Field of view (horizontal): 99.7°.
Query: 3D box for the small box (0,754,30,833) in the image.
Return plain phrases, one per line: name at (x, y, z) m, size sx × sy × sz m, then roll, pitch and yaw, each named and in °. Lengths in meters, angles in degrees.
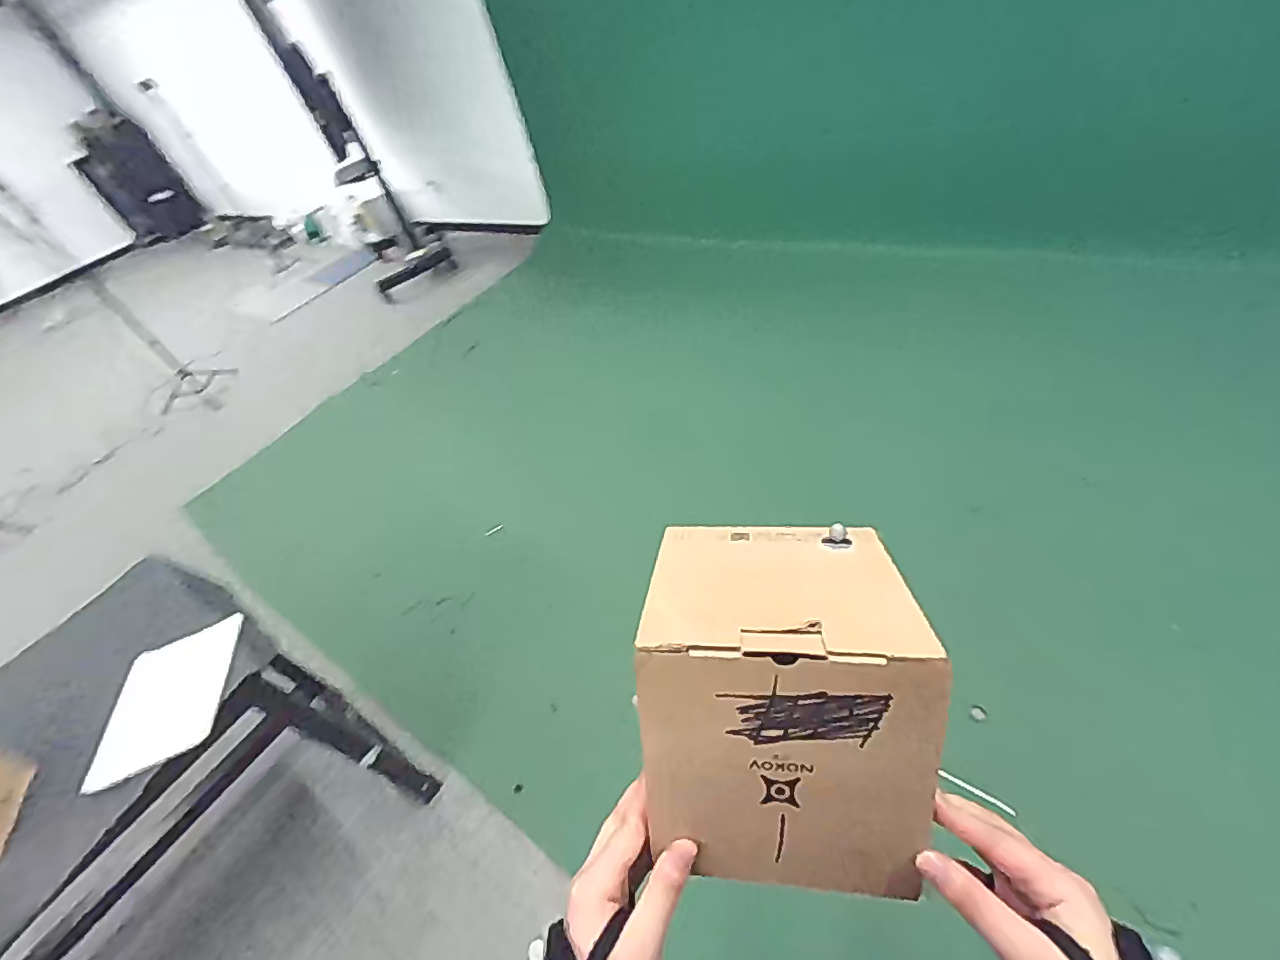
small box at (-1.121, 0.523, 0.824) m, size 0.179 × 0.176 × 0.168 m, roll -28°, pitch 45°, yaw -8°
